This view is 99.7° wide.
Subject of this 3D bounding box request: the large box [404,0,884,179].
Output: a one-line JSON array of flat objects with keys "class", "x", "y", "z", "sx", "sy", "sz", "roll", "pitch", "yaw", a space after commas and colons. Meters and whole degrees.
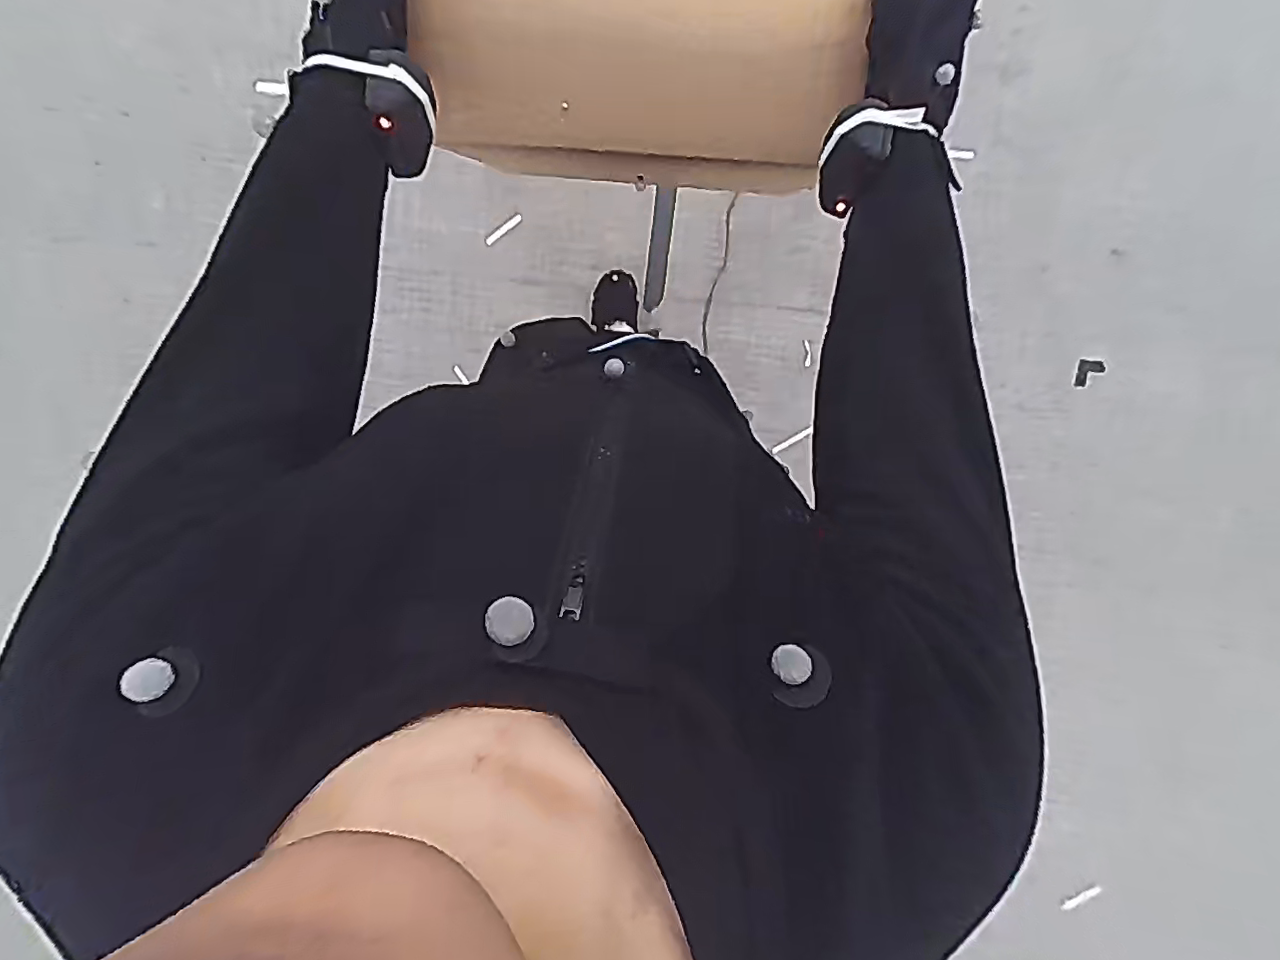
[{"class": "large box", "x": 0.013, "y": -0.505, "z": 0.558, "sx": 0.408, "sy": 0.320, "sz": 0.320, "roll": 5, "pitch": 114, "yaw": 1}]
